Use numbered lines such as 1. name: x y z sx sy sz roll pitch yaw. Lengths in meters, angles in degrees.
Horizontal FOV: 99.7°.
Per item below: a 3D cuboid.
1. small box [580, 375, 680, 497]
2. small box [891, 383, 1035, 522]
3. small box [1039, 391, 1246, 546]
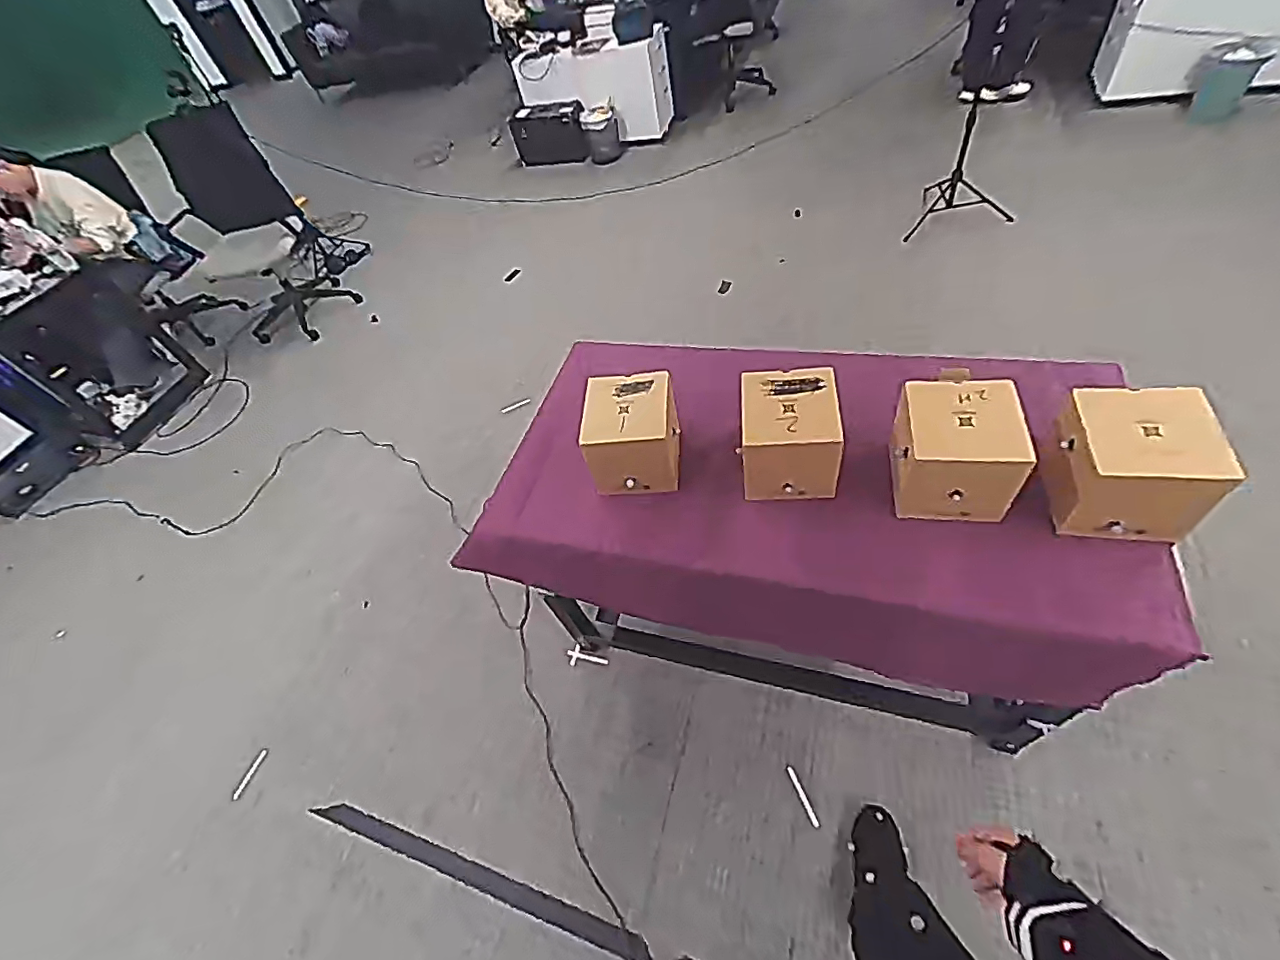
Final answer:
1. small box: -0.012 -0.085 1.091 0.168 0.176 0.179 -4 53 11
2. small box: 0.535 -0.044 0.924 0.168 0.176 0.179 2 53 15
3. small box: 0.761 -0.019 0.849 0.168 0.176 0.179 3 53 18
